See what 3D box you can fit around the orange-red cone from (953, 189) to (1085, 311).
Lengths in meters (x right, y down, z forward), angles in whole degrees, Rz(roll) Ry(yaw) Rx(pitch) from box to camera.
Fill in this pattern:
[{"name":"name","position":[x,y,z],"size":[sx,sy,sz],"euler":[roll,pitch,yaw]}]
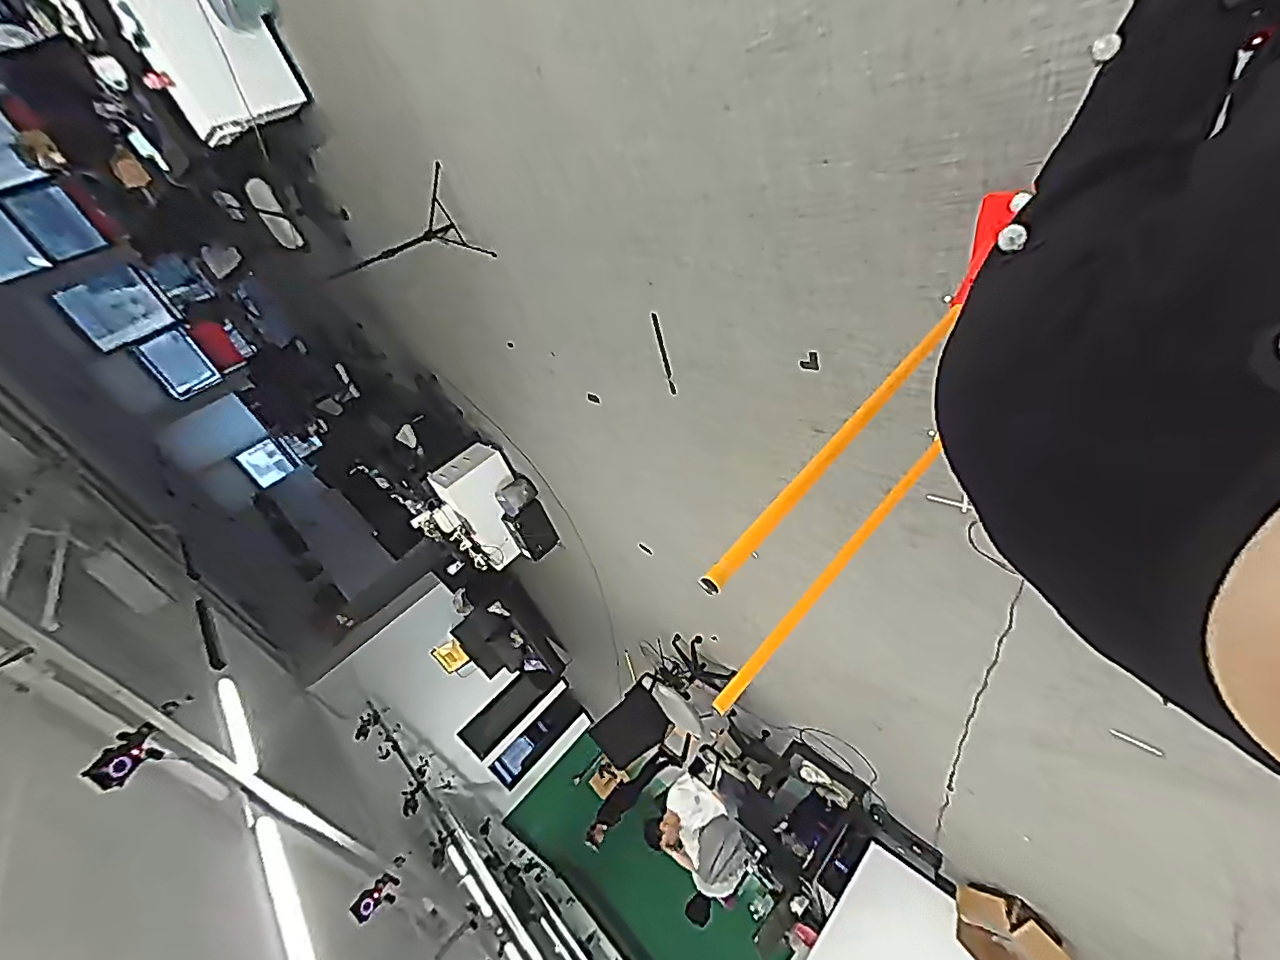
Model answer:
[{"name":"orange-red cone","position":[0.748,-0.453,1.143],"size":[0.198,0.360,0.199],"euler":[26,144,36]}]
